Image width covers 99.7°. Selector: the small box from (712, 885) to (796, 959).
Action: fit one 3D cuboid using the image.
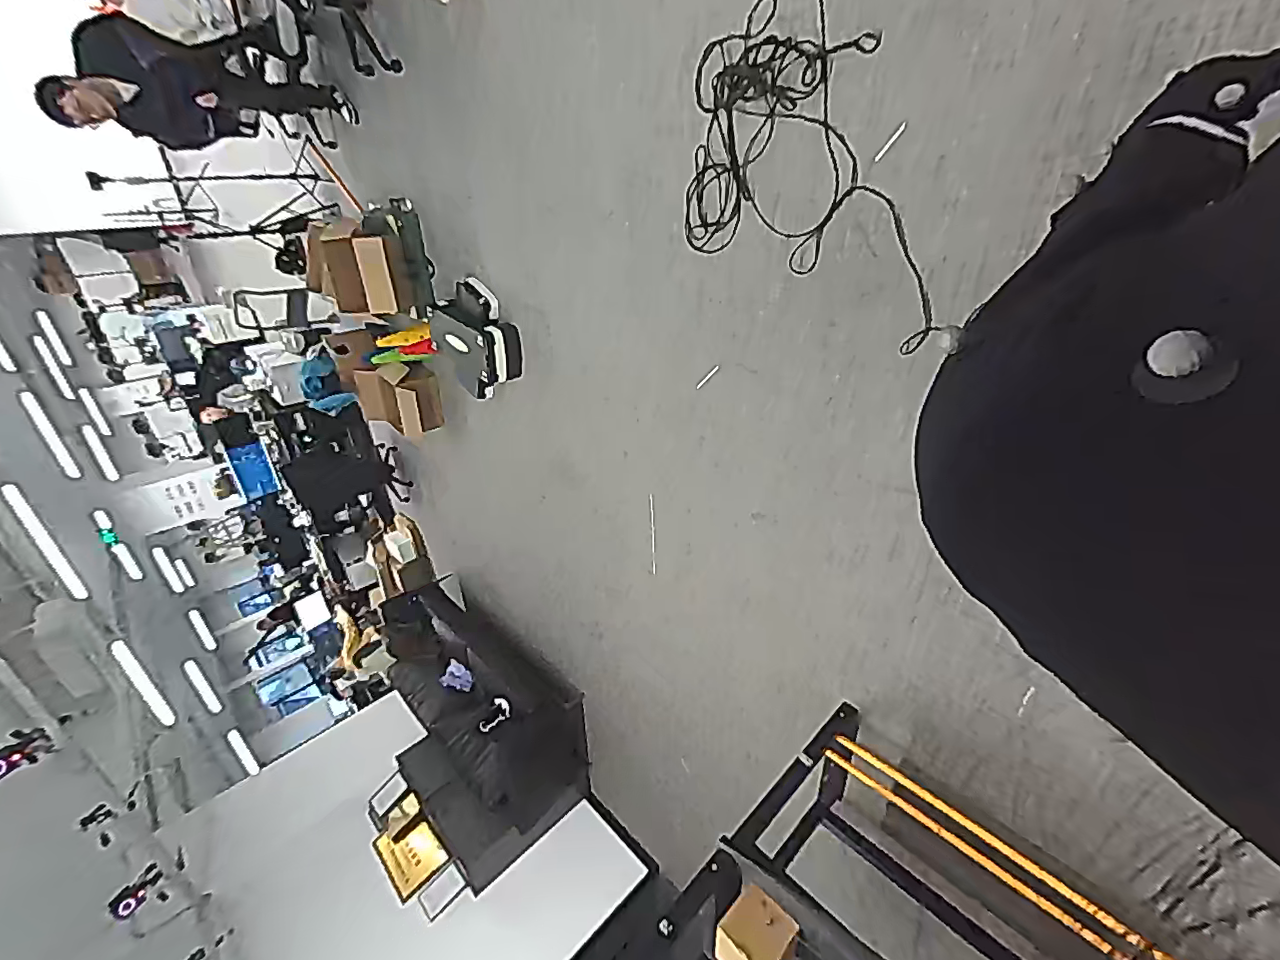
[{"bbox_3d":[0.323,1.312,1.527,0.168,0.176,0.179,25,128,41],"label":"small box"}]
